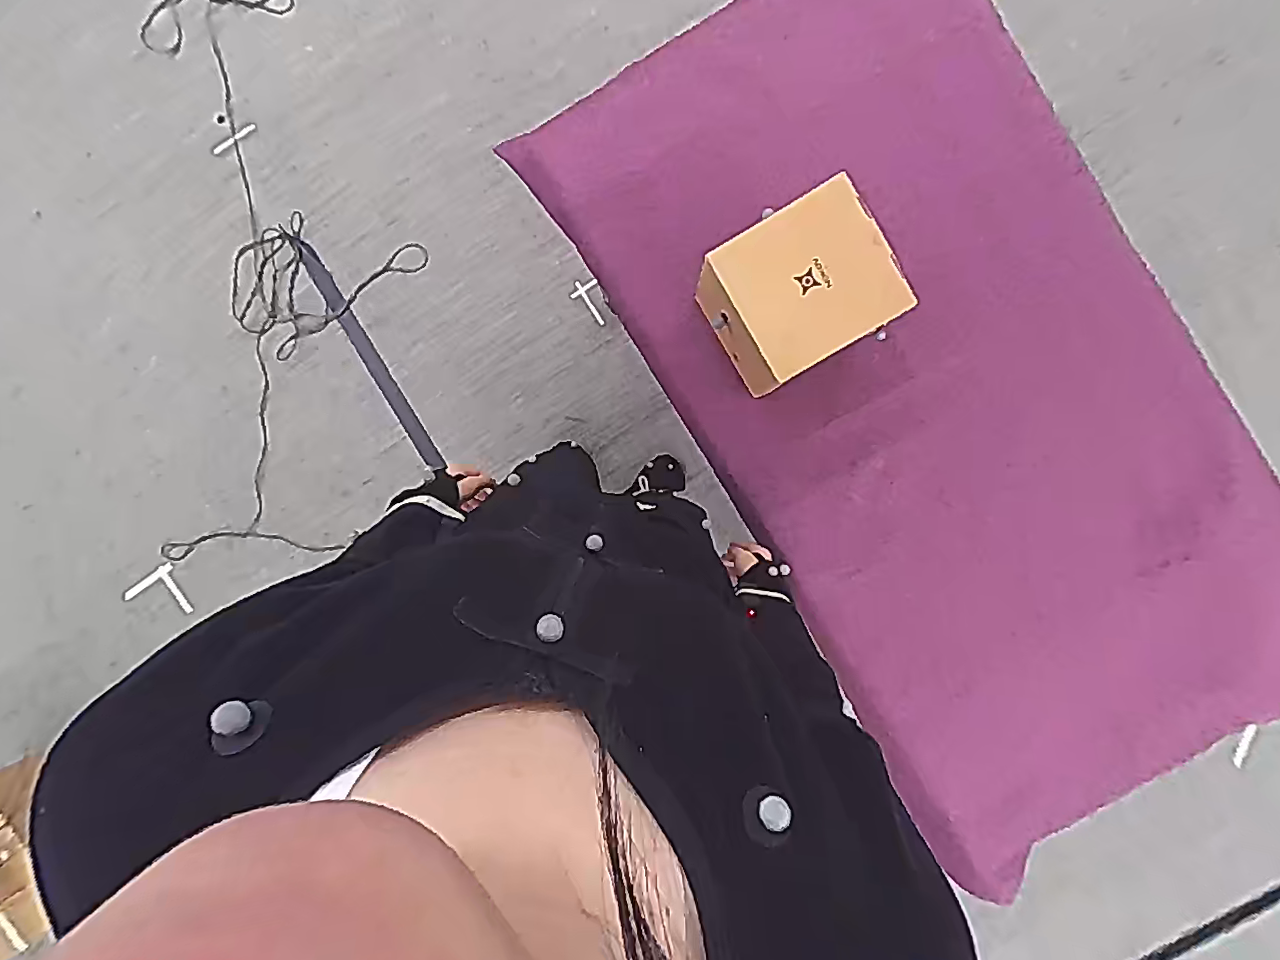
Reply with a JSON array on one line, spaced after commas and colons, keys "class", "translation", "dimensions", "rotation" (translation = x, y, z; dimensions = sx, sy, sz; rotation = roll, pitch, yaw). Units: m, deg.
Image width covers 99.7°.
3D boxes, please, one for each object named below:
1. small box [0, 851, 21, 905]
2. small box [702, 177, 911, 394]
[{"class": "small box", "translation": [-1.600, 0.967, 1.226], "dimensions": [0.179, 0.176, 0.168], "rotation": [-34, 91, 2]}, {"class": "small box", "translation": [0.188, -0.224, 0.676], "dimensions": [0.179, 0.176, 0.168], "rotation": [-31, 92, 2]}]
